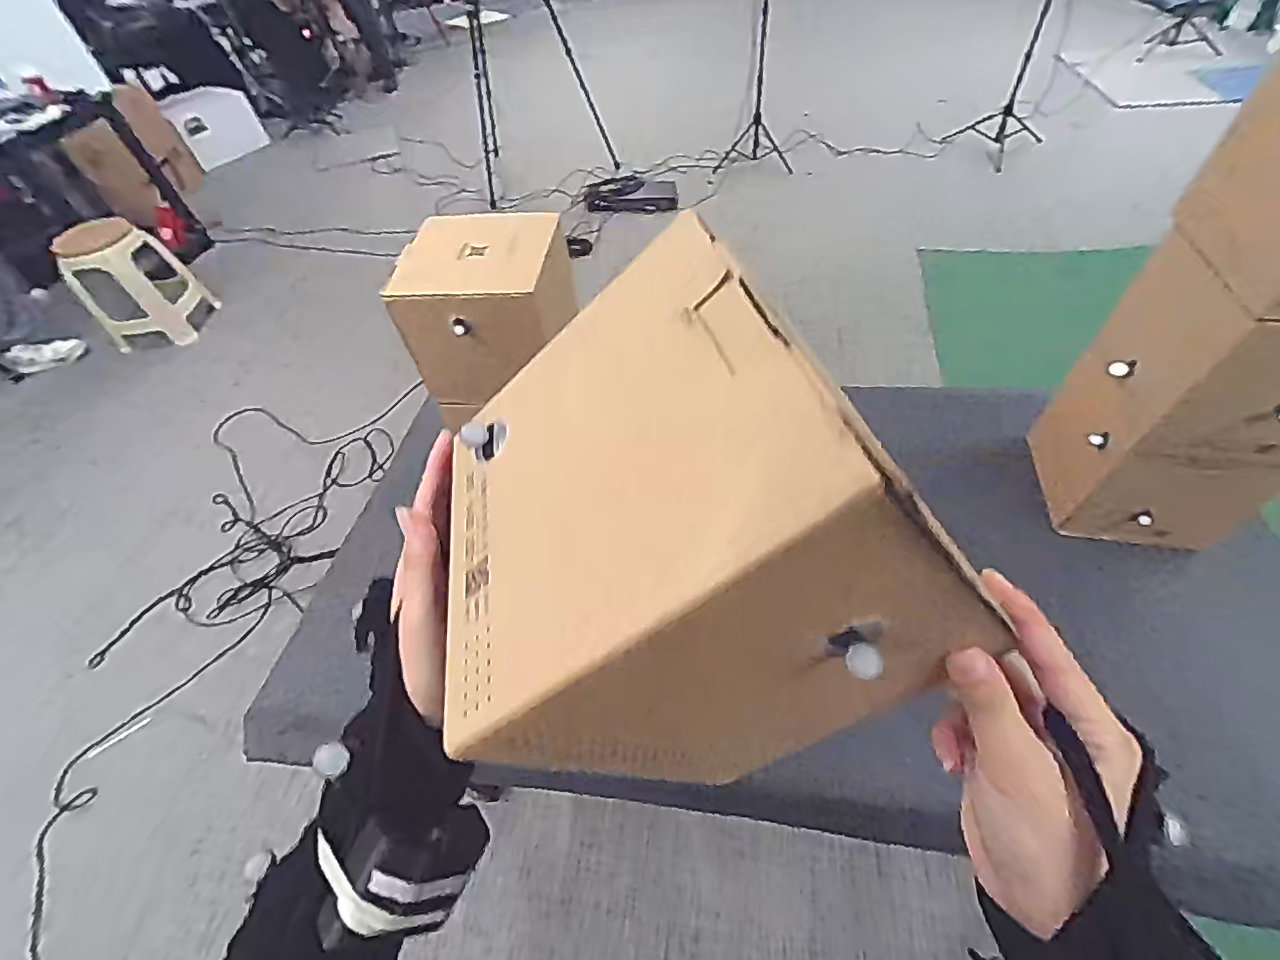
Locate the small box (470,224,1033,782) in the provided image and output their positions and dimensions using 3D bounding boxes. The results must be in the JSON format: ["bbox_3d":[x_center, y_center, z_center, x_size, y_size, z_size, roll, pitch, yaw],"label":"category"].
[{"bbox_3d":[0.037,0.027,0.261,0.176,0.179,0.168,-37,44,22],"label":"small box"}]

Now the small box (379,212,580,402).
[{"bbox_3d":[-0.183,-0.213,0.681,0.179,0.176,0.168,2,54,6],"label":"small box"}]

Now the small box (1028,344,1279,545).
[{"bbox_3d":[0.621,-0.044,0.671,0.168,0.176,0.179,6,54,11],"label":"small box"}]

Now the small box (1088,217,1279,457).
[{"bbox_3d":[0.603,-0.140,0.540,0.168,0.176,0.179,6,55,11],"label":"small box"}]

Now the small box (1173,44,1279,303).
[{"bbox_3d":[0.581,-0.241,0.411,0.168,0.176,0.179,5,53,10],"label":"small box"}]
